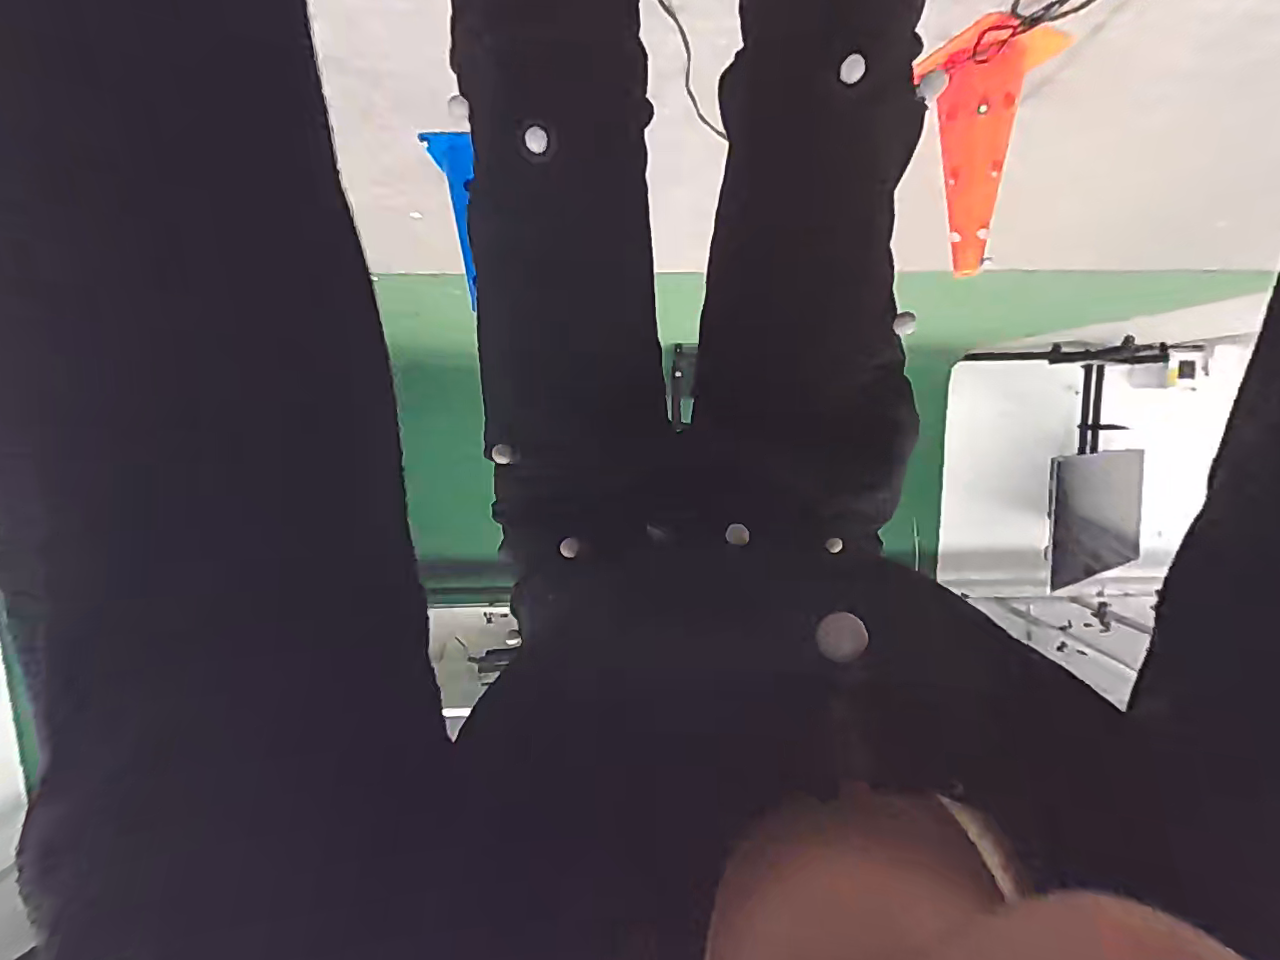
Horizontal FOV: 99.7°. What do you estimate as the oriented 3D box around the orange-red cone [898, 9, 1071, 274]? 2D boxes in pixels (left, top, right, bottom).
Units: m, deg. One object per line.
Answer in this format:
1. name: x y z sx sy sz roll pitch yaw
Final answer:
1. orange-red cone: 0.582 -0.549 0.941 0.199 0.360 0.198 -5 -172 -21
